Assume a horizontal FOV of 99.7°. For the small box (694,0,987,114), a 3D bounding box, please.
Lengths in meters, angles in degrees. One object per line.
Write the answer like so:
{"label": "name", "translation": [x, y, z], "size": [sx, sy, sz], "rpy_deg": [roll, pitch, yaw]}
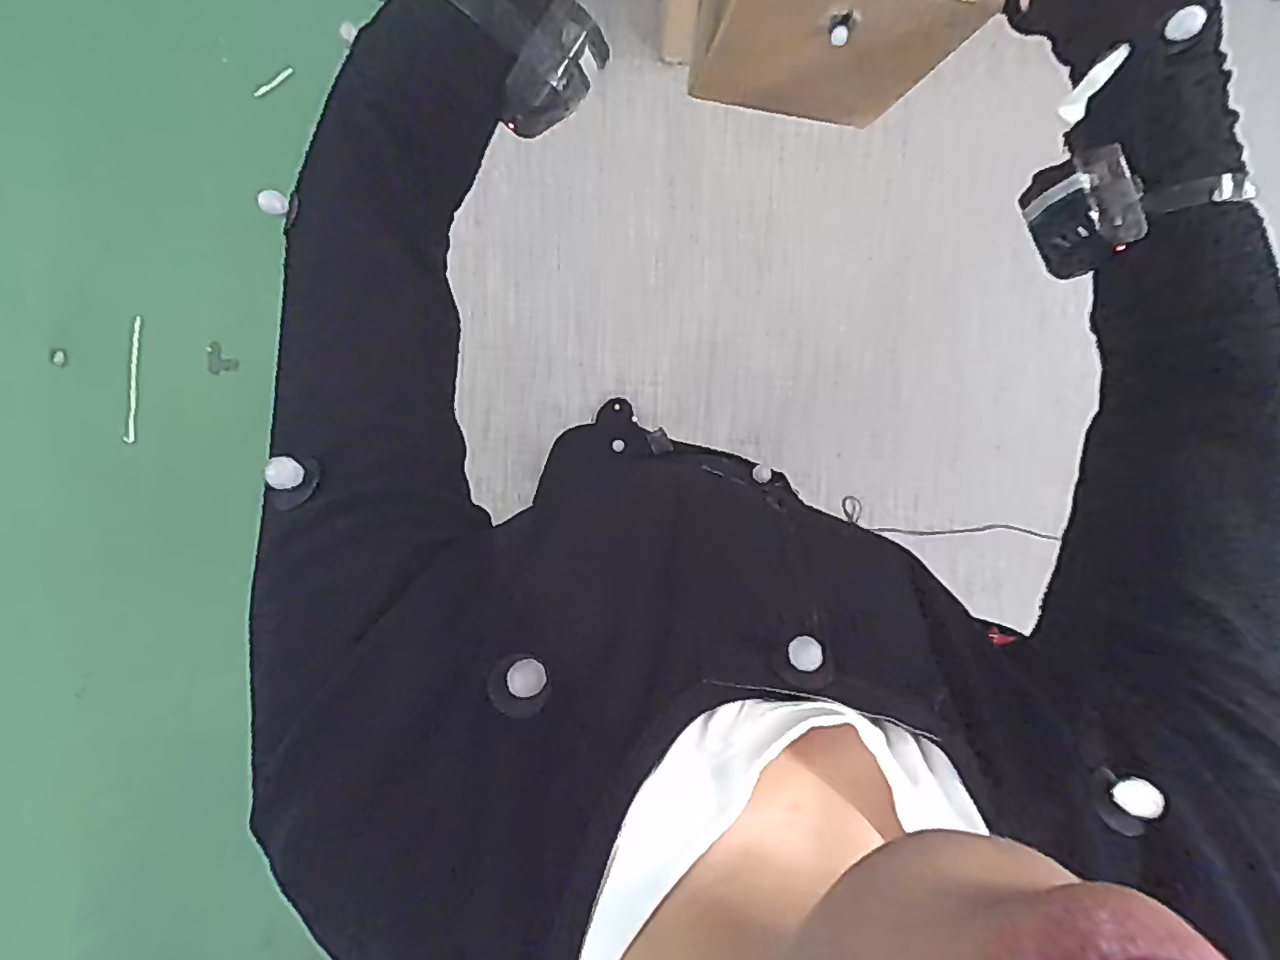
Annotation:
{"label": "small box", "translation": [0.147, -0.413, 0.408], "size": [0.179, 0.176, 0.168], "rpy_deg": [3, 99, -10]}
